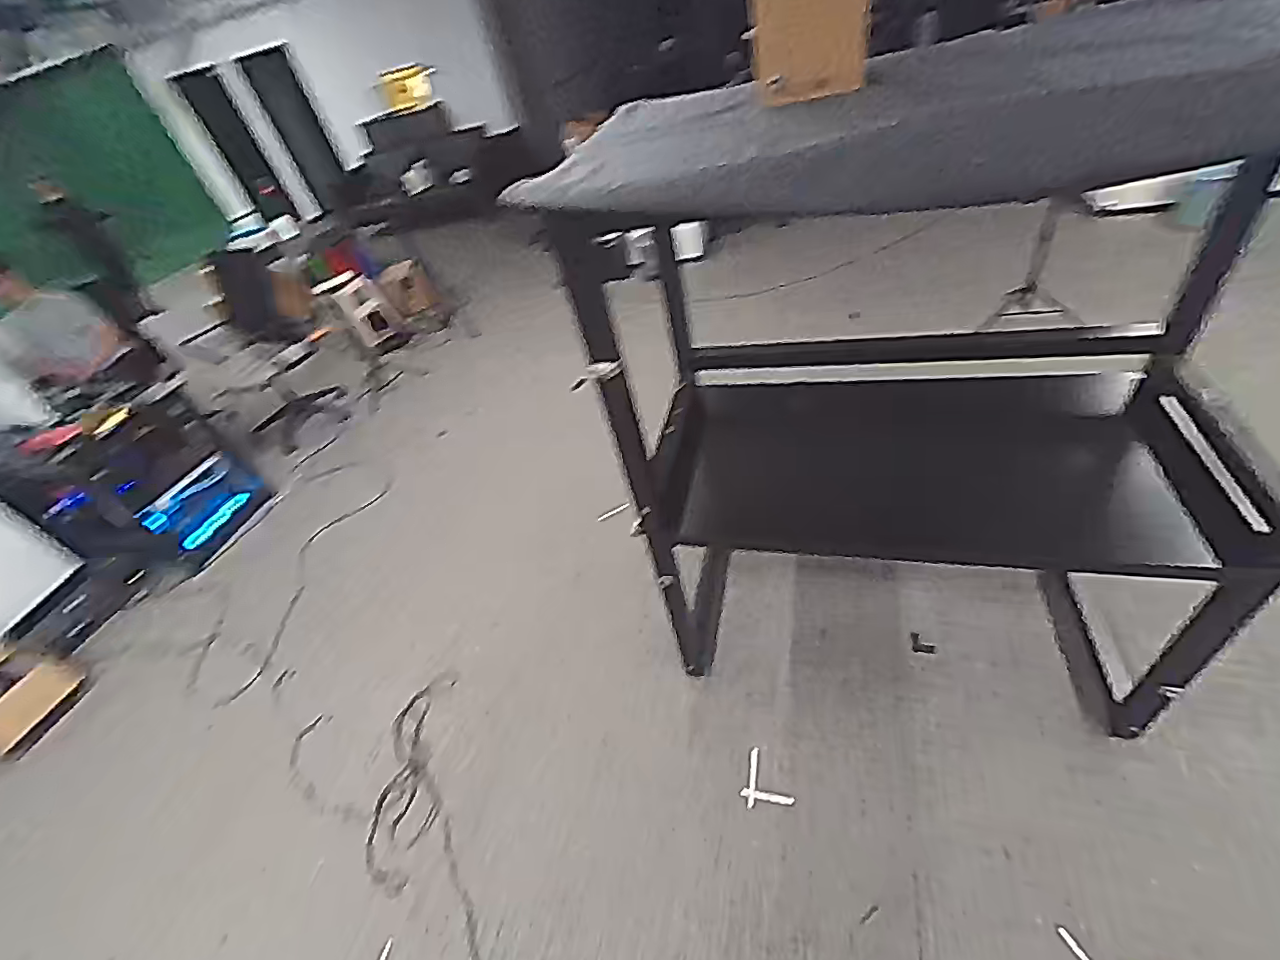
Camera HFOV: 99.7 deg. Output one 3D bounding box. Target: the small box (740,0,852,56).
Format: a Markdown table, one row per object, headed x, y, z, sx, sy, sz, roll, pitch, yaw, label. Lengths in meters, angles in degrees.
| x | y | z | sx | sy | sz | roll | pitch | yaw | label |
| --- | --- | --- | --- | --- | --- | --- | --- | --- | --- |
| 0.243 | -0.792 | 0.850 | 0.168 | 0.176 | 0.179 | -1 | 44 | 15 | small box |
